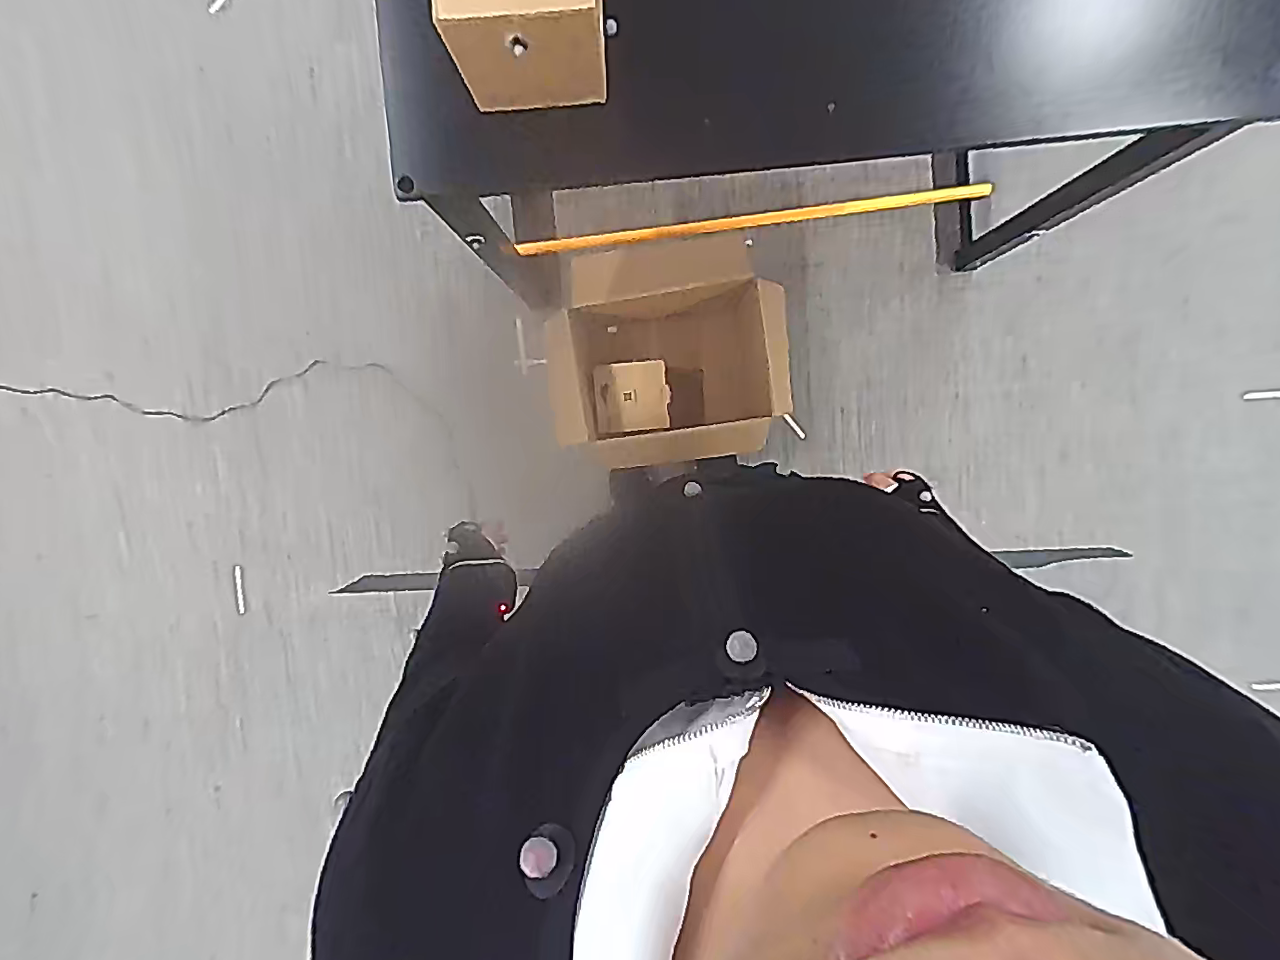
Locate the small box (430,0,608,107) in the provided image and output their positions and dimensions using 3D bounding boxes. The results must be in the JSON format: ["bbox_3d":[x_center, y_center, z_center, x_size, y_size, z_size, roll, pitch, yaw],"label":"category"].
[{"bbox_3d":[-0.135,-0.574,0.637,0.179,0.176,0.168,-4,95,1],"label":"small box"}]
